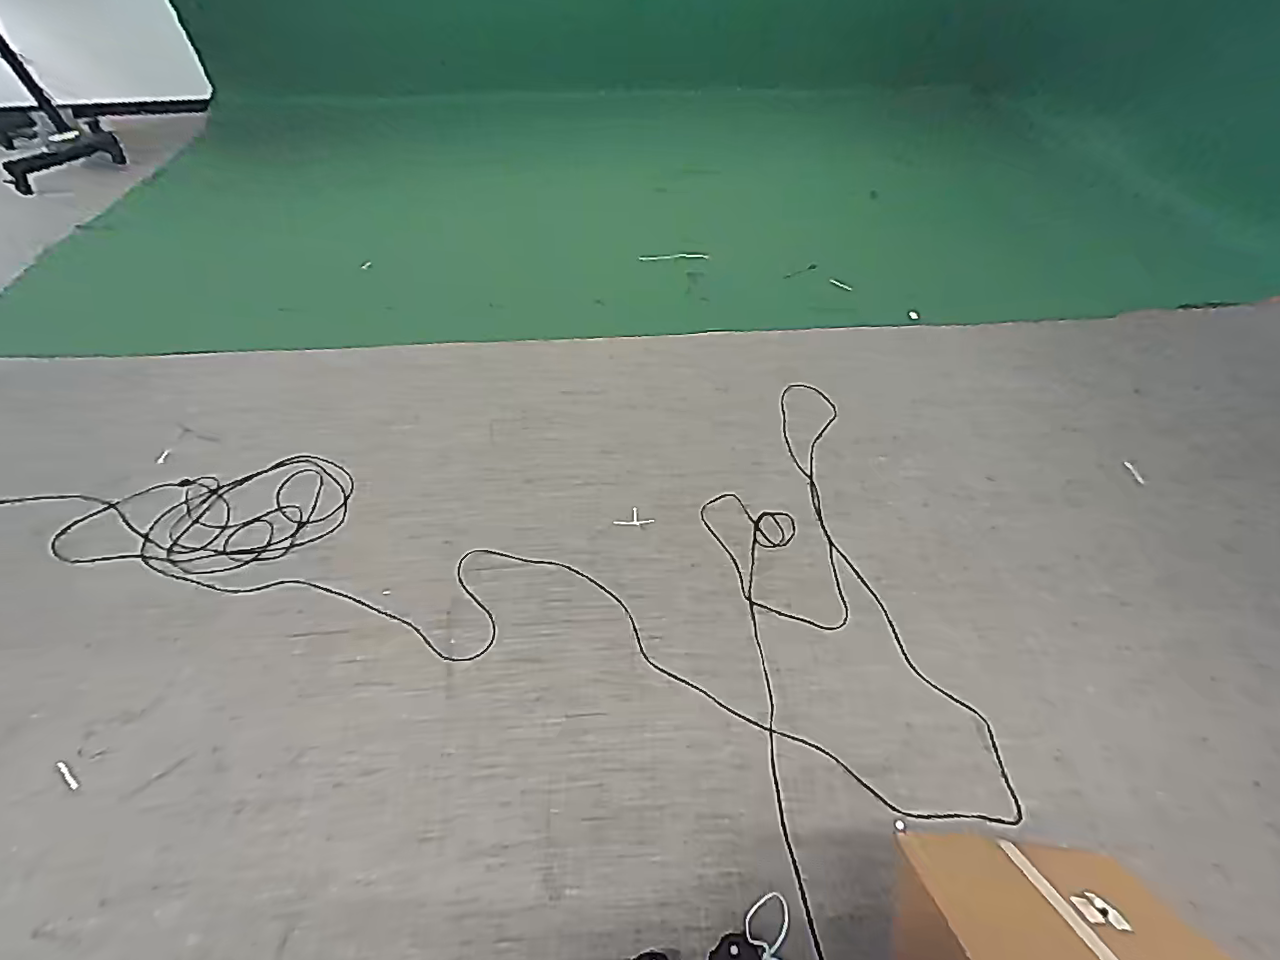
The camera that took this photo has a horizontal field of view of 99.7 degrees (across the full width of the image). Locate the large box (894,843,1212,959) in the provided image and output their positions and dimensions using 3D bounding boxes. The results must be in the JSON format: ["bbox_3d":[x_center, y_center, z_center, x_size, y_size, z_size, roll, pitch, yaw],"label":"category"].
[{"bbox_3d":[0.520,0.711,0.618,0.320,0.408,0.320,5,89,6],"label":"large box"}]
